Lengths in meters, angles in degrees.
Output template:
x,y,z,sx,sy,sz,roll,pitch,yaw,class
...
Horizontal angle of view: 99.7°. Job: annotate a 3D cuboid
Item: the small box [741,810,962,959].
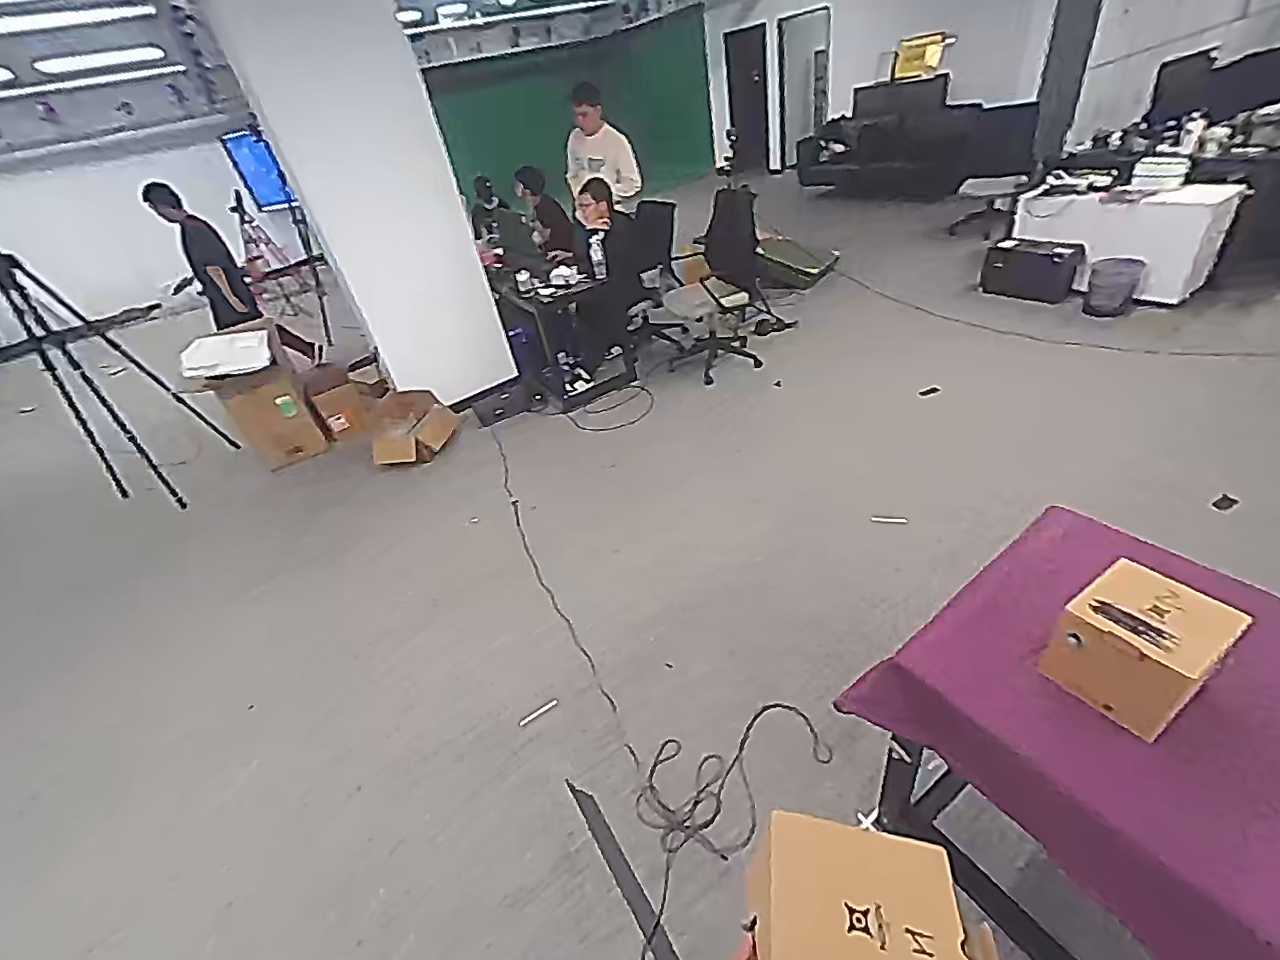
x,y,z,sx,sy,sz,roll,pitch,yaw,class
0.195,0.467,0.536,0.179,0.176,0.168,8,35,7,small box
